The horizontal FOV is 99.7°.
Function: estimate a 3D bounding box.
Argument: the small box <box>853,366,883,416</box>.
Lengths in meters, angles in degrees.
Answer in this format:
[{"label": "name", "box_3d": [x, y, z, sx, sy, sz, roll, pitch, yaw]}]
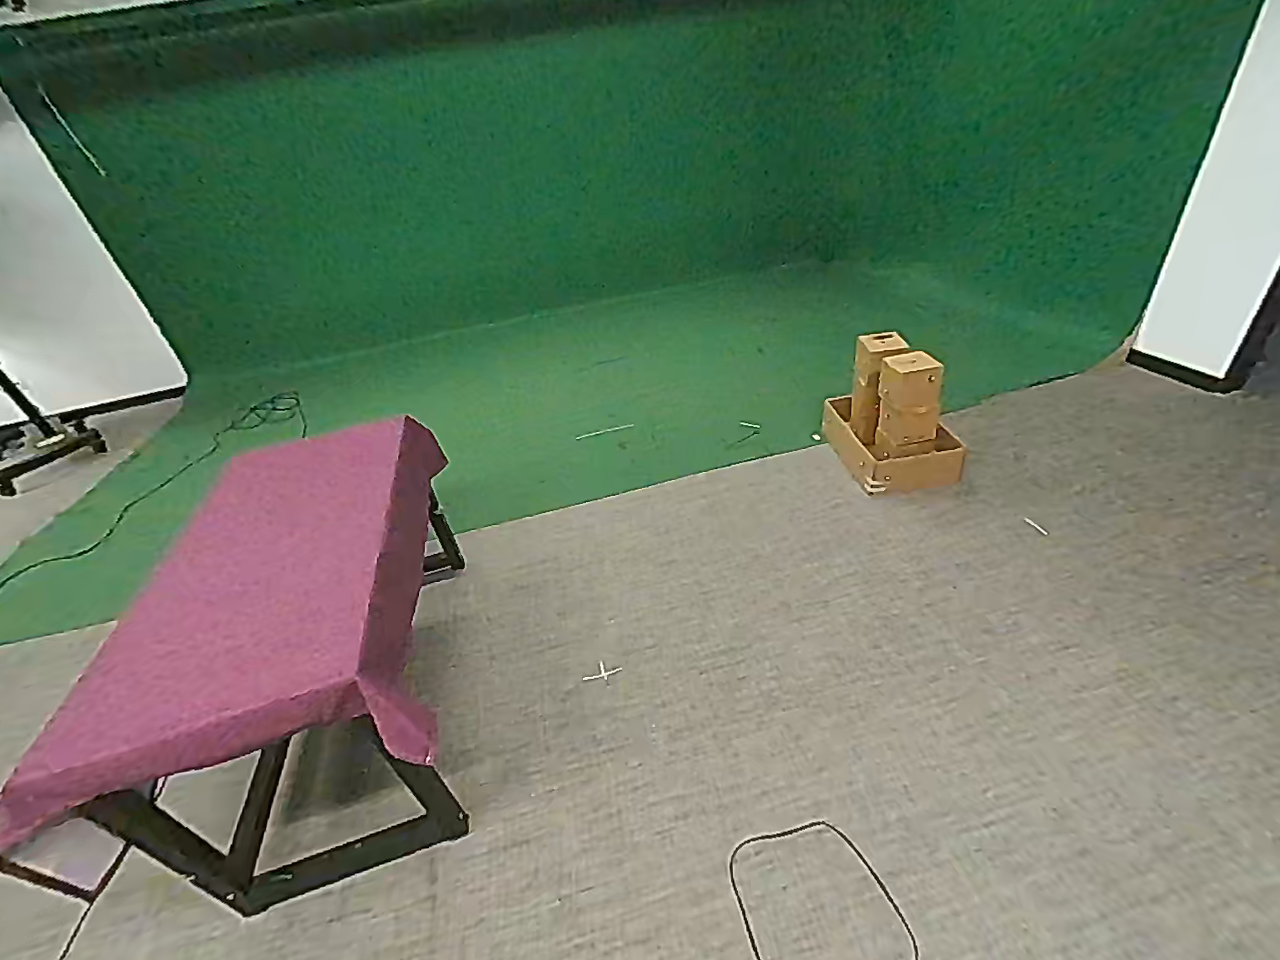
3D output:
[{"label": "small box", "box_3d": [1.108, -0.418, 2.539, 0.168, 0.176, 0.179, -5, 37, 10]}]

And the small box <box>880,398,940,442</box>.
[{"label": "small box", "box_3d": [1.152, -0.275, 2.317, 0.168, 0.176, 0.179, -11, 33, 1]}]

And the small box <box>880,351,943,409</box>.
[{"label": "small box", "box_3d": [1.113, -0.410, 2.231, 0.179, 0.176, 0.168, -11, 34, 1]}]
